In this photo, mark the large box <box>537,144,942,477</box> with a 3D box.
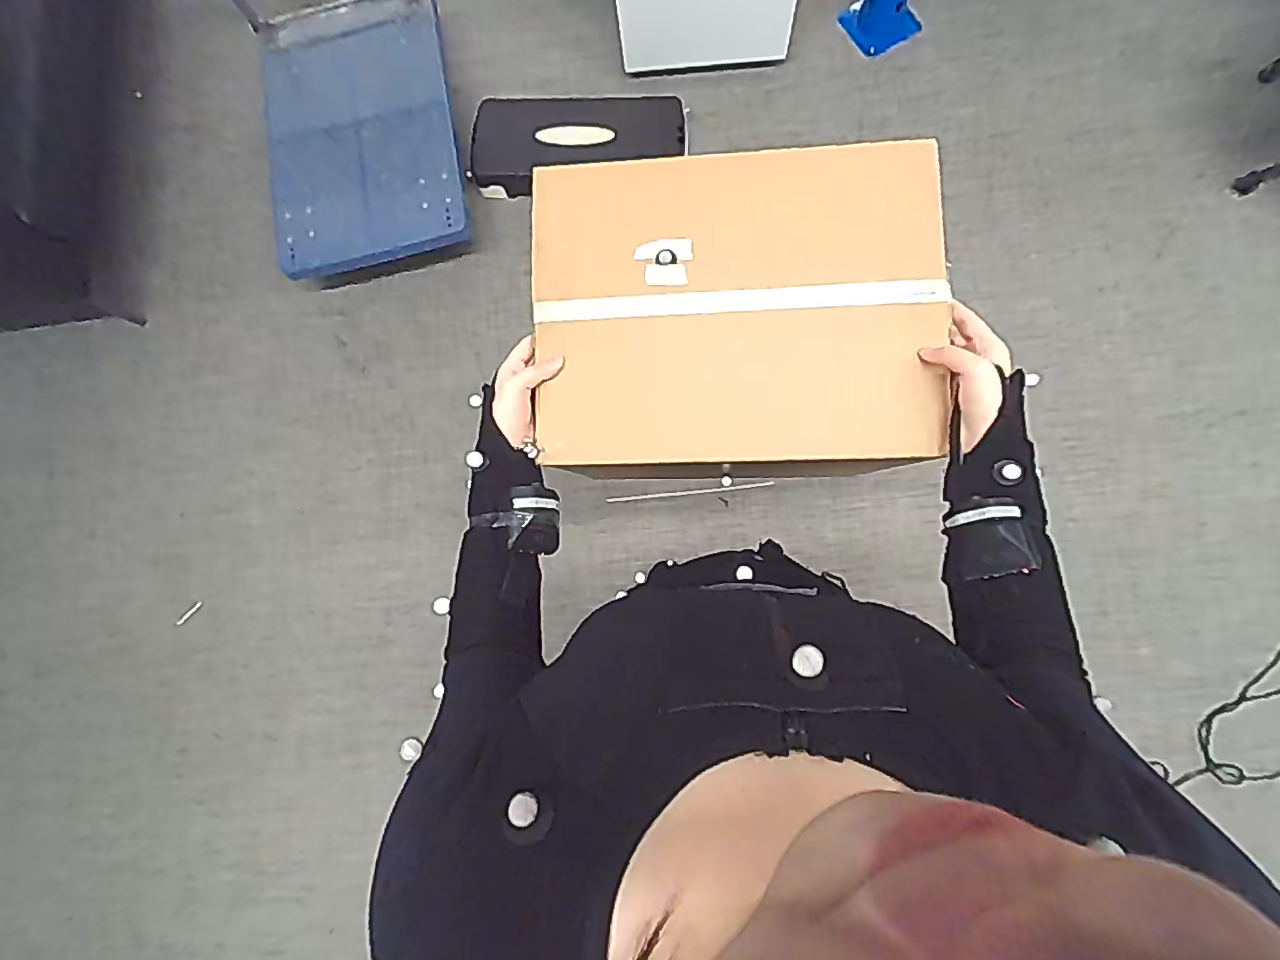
[{"bbox_3d":[0.110,-0.168,0.699,0.408,0.320,0.320,-2,86,7],"label":"large box"}]
